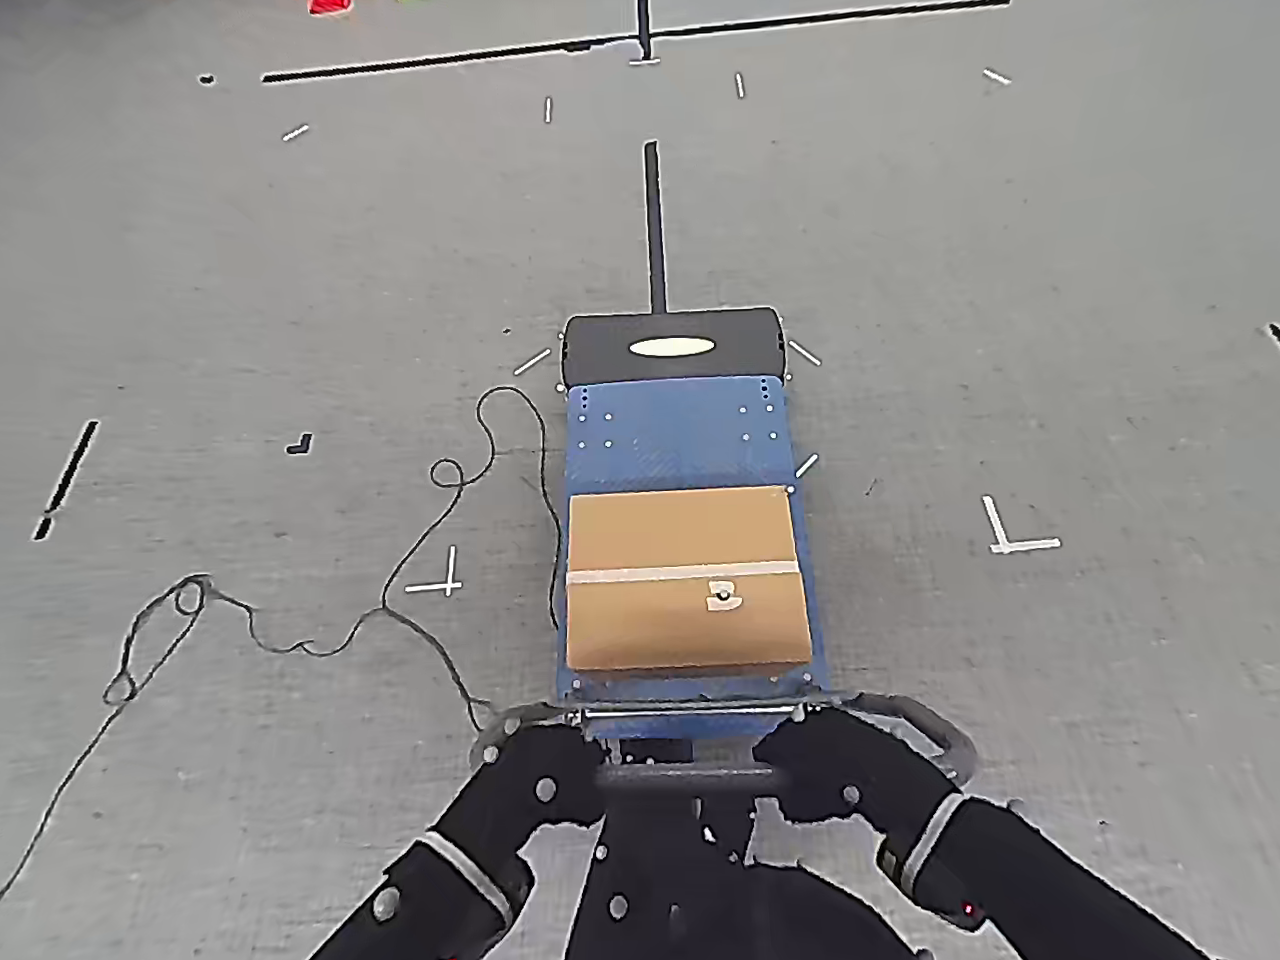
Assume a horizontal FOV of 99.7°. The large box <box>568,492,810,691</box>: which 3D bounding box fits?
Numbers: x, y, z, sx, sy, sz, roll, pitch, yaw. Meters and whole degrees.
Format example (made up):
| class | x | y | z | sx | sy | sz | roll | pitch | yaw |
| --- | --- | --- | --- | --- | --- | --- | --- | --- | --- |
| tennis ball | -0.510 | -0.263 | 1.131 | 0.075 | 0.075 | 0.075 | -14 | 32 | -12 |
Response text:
| class | x | y | z | sx | sy | sz | roll | pitch | yaw |
| --- | --- | --- | --- | --- | --- | --- | --- | --- | --- |
| large box | 0.077 | 0.236 | 1.071 | 0.408 | 0.320 | 0.320 | -3 | 66 | 1 |
